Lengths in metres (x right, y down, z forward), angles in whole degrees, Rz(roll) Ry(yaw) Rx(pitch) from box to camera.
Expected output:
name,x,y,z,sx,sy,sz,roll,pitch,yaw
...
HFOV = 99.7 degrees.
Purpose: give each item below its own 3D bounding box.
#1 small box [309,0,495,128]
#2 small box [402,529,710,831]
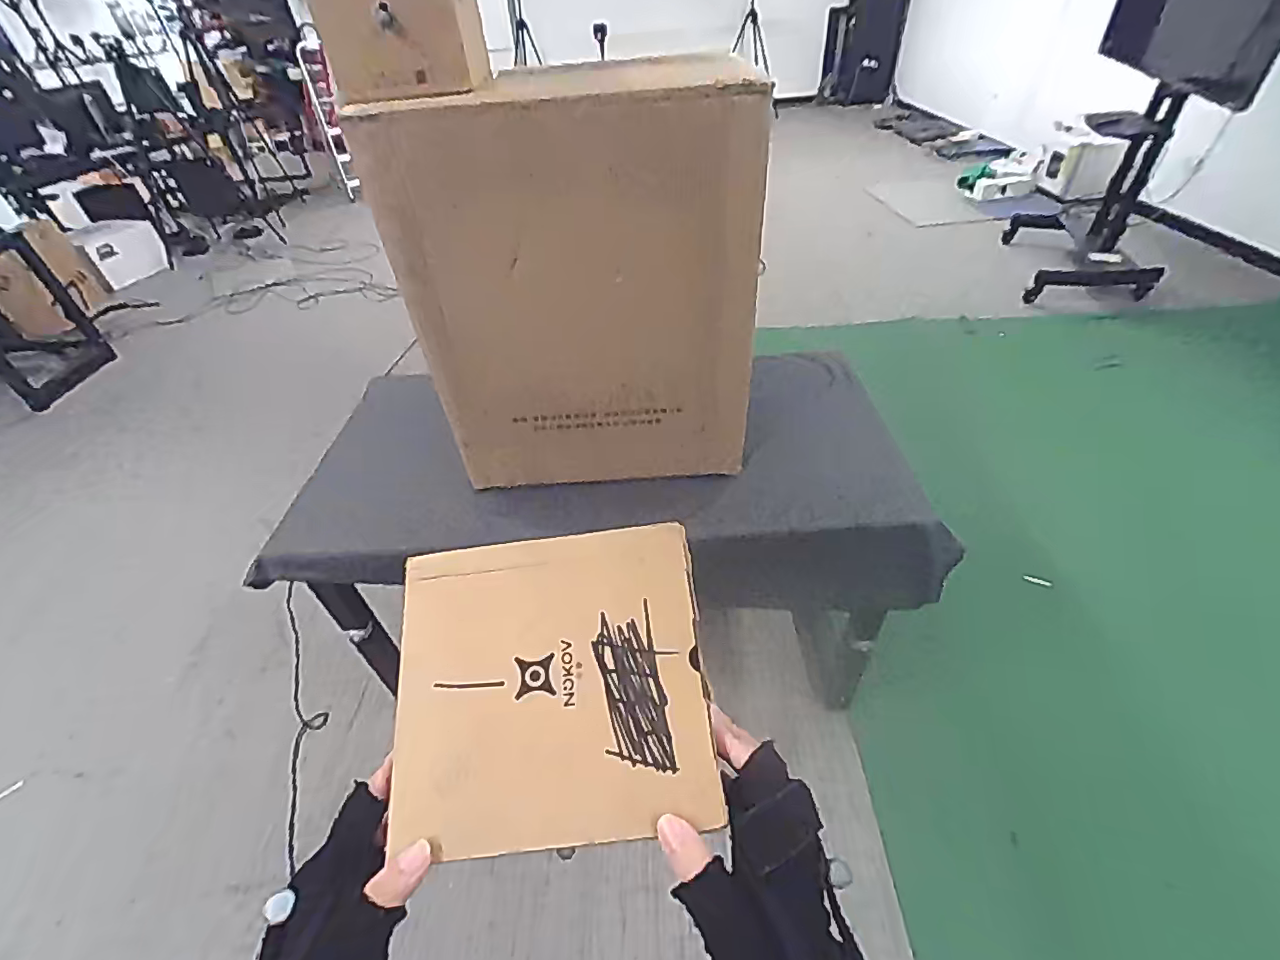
name,x,y,z,sx,sy,sz,roll,pitch,yaw
small box,-0.293,-0.571,0.697,0.168,0.176,0.179,-8,44,-1
small box,-0.049,0.147,0.405,0.179,0.176,0.168,-6,65,1
